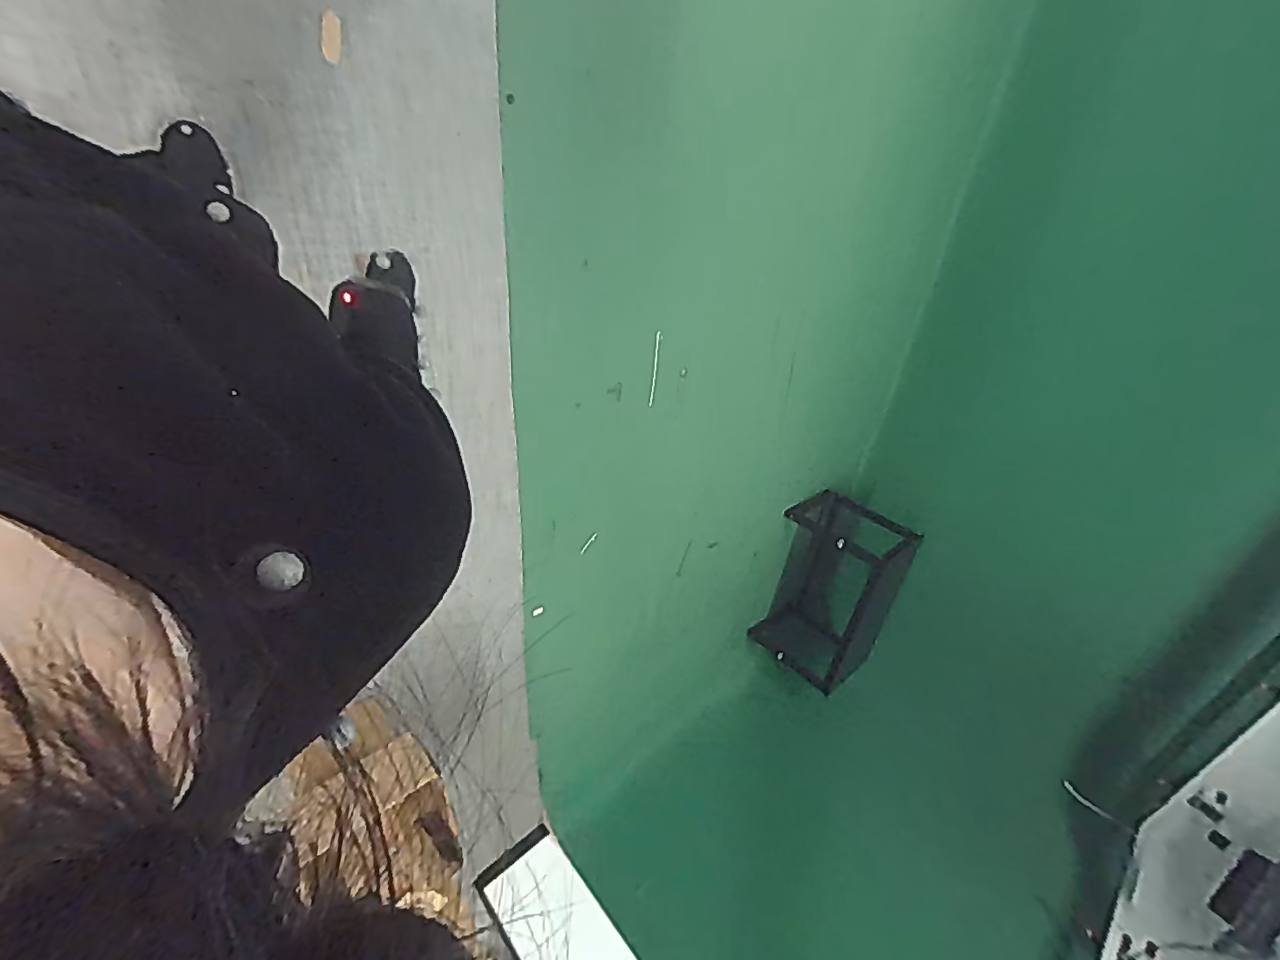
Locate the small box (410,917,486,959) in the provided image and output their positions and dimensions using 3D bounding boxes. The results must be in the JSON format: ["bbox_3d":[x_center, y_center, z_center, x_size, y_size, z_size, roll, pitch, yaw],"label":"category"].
[{"bbox_3d":[-0.537,1.415,1.553,0.168,0.176,0.179,-27,133,-35],"label":"small box"}]

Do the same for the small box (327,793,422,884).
[{"bbox_3d":[-0.778,1.059,1.578,0.168,0.176,0.179,-34,138,-26],"label":"small box"}]

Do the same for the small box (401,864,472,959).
[{"bbox_3d":[-0.643,1.335,1.650,0.179,0.176,0.168,-29,134,-34],"label":"small box"}]

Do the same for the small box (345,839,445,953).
[{"bbox_3d":[-0.669,1.127,1.477,0.168,0.176,0.179,-34,138,-26],"label":"small box"}]
